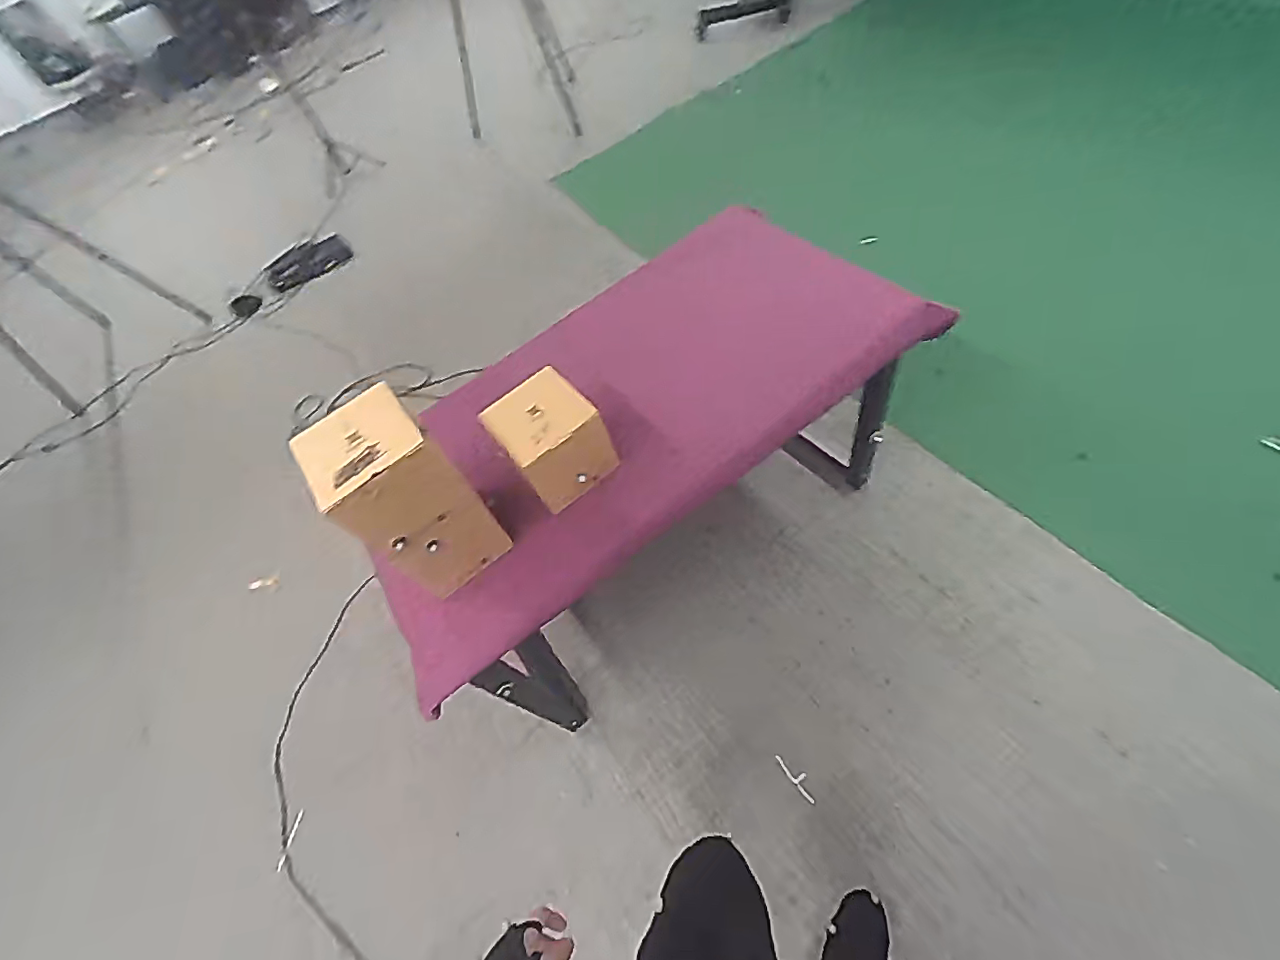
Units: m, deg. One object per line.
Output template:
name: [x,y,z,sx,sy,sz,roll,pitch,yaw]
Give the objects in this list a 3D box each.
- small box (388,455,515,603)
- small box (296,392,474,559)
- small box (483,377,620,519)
small box: [-0.360,0.092,0.988,0.168,0.176,0.179,-38,55,-11]
small box: [-0.393,0.002,0.854,0.168,0.176,0.179,-37,55,-12]
small box: [-0.163,-0.058,1.036,0.168,0.176,0.179,-38,56,-11]
